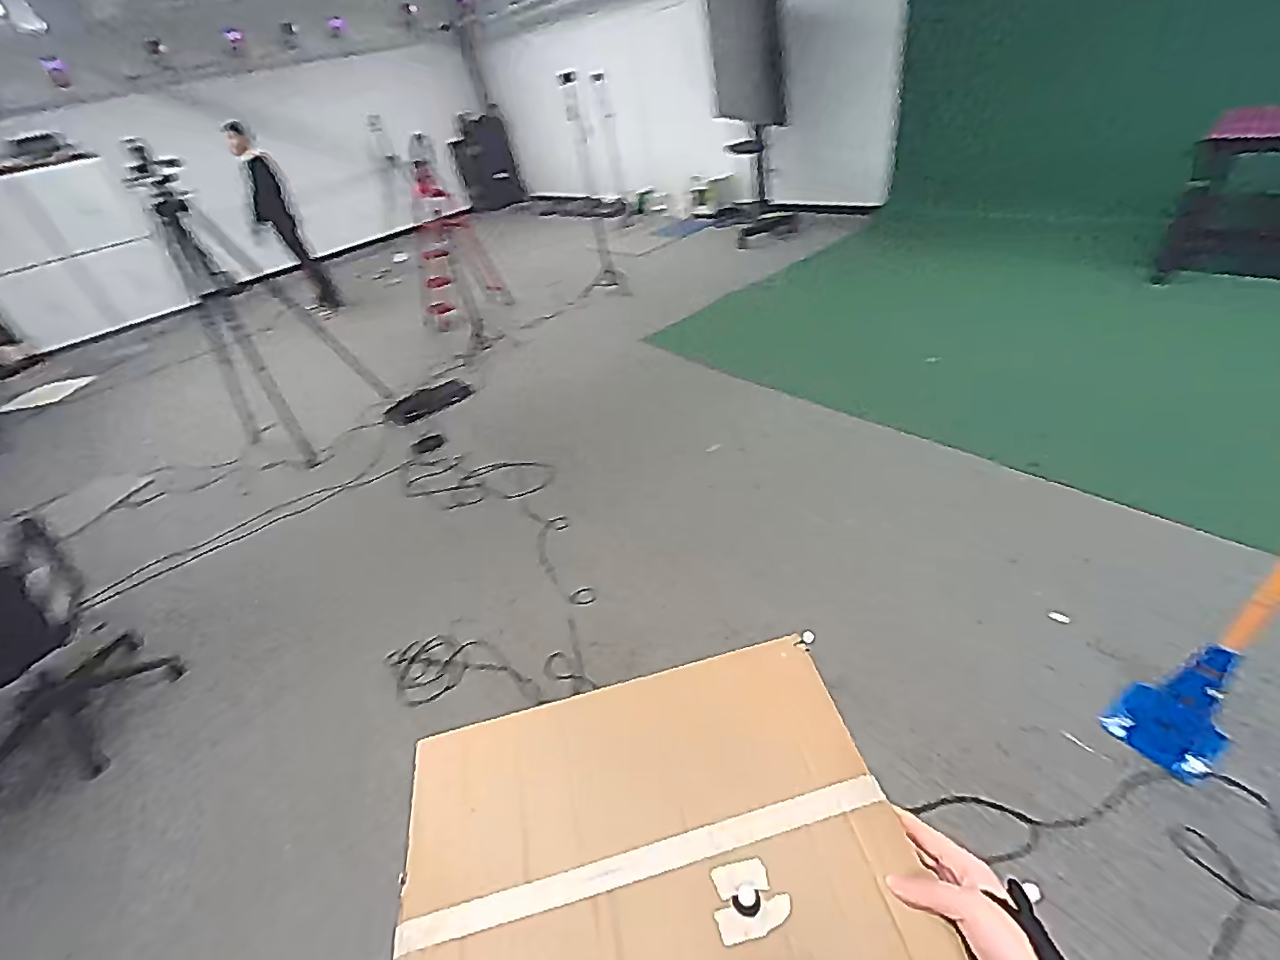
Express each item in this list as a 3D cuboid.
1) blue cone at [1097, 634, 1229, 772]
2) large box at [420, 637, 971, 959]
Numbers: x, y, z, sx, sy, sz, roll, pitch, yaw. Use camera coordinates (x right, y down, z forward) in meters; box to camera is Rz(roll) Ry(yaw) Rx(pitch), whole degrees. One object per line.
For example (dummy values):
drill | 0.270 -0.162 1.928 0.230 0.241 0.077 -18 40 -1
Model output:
blue cone | 1.281 0.498 1.281 0.192 0.380 0.193 -26 39 -19
large box | 0.032 0.420 0.552 0.408 0.320 0.320 -12 43 -5
